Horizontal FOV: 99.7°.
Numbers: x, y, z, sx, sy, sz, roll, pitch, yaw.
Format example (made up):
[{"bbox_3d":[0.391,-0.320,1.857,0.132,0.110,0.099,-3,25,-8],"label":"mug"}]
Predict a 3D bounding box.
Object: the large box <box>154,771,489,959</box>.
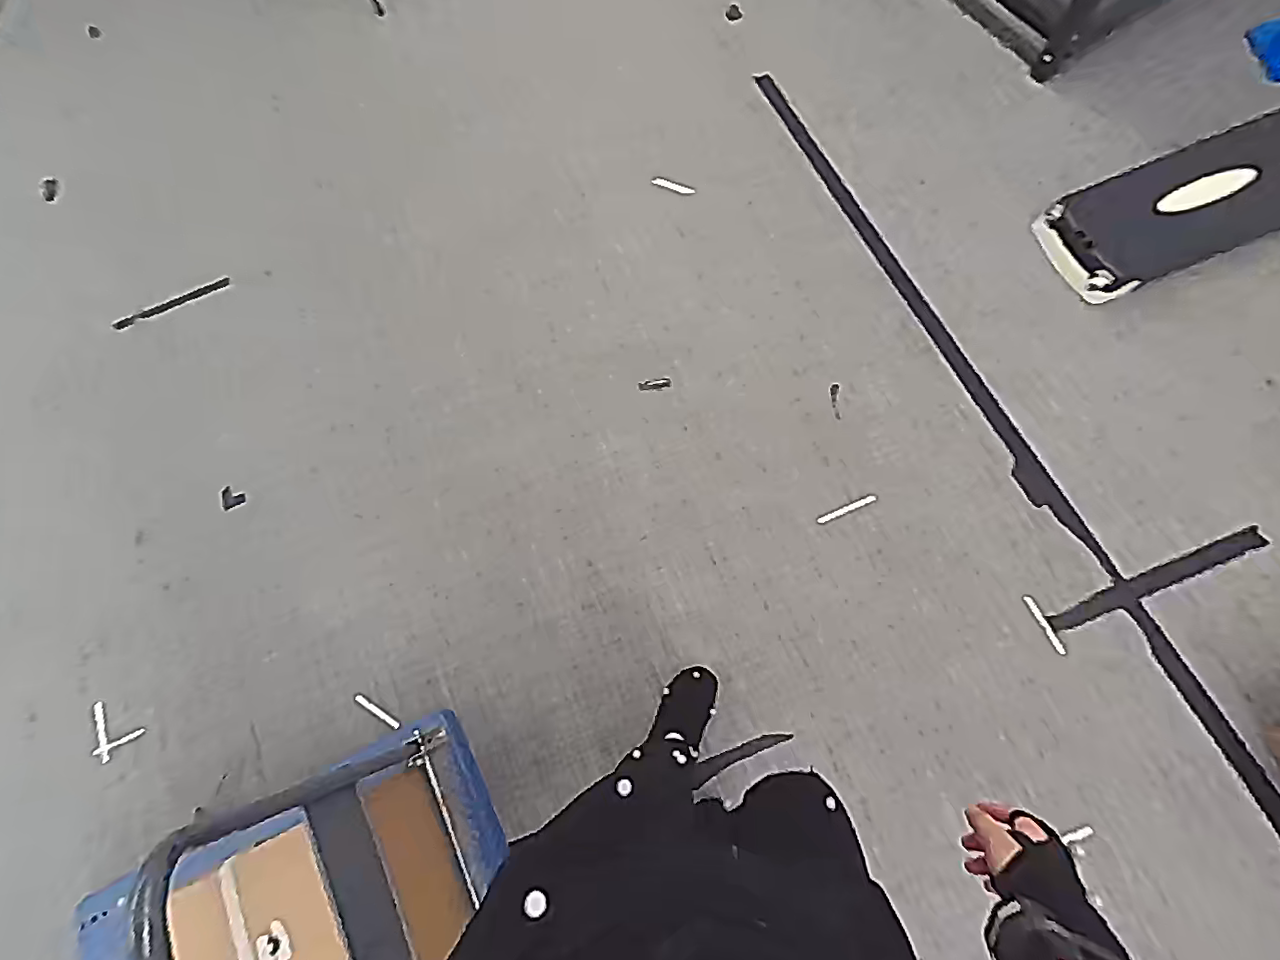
[{"bbox_3d":[-0.519,0.808,0.937,0.320,0.320,0.408,-28,73,-2],"label":"large box"}]
